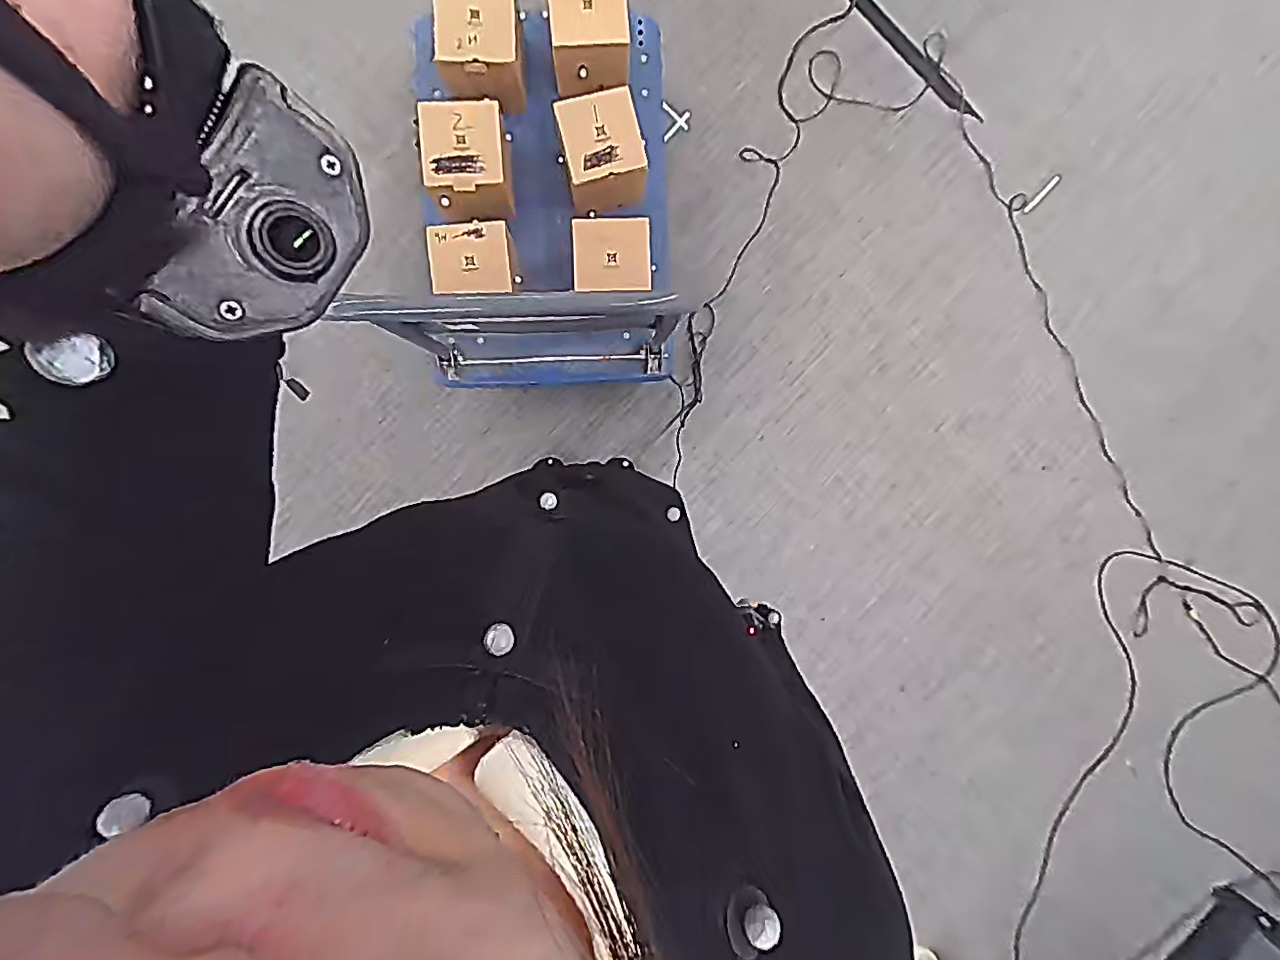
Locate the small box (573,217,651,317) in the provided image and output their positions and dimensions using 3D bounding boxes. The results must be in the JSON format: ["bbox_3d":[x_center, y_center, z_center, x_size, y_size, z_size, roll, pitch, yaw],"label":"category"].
[{"bbox_3d":[-0.063,-0.476,1.230,0.168,0.176,0.179,-2,92,-4],"label":"small box"}]

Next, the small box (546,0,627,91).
[{"bbox_3d":[-0.117,-1.003,1.206,0.168,0.176,0.179,-6,92,-3],"label":"small box"}]

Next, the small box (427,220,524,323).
[{"bbox_3d":[-0.360,-0.456,1.211,0.168,0.176,0.179,-6,93,-4],"label":"small box"}]

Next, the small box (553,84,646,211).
[{"bbox_3d":[-0.088,-0.732,1.217,0.168,0.176,0.179,-15,92,-3],"label":"small box"}]

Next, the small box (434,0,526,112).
[{"bbox_3d":[-0.347,-0.955,1.191,0.168,0.176,0.179,-1,93,-3],"label":"small box"}]
